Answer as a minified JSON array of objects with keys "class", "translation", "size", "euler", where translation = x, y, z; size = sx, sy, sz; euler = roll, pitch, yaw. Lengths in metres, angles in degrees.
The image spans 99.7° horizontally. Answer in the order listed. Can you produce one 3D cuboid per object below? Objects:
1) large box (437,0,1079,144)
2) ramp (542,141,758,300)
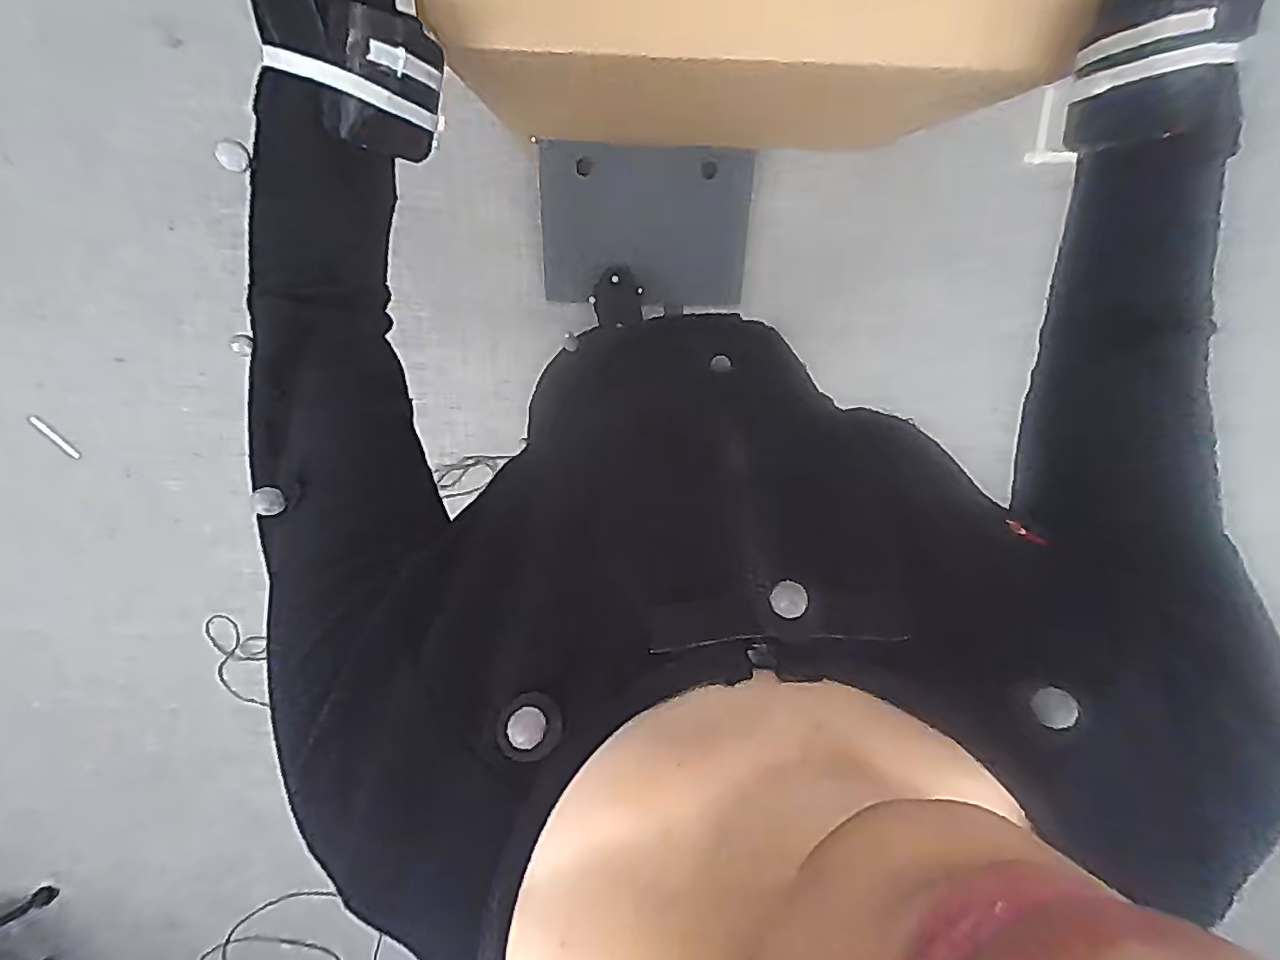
[{"class":"large box","translation":[0.067,-0.464,0.416],"size":[0.408,0.320,0.320],"euler":[0,114,-3]},{"class":"ramp","translation":[0.027,-0.903,1.149],"size":[0.509,0.206,0.991],"euler":[-2,107,-2]}]
